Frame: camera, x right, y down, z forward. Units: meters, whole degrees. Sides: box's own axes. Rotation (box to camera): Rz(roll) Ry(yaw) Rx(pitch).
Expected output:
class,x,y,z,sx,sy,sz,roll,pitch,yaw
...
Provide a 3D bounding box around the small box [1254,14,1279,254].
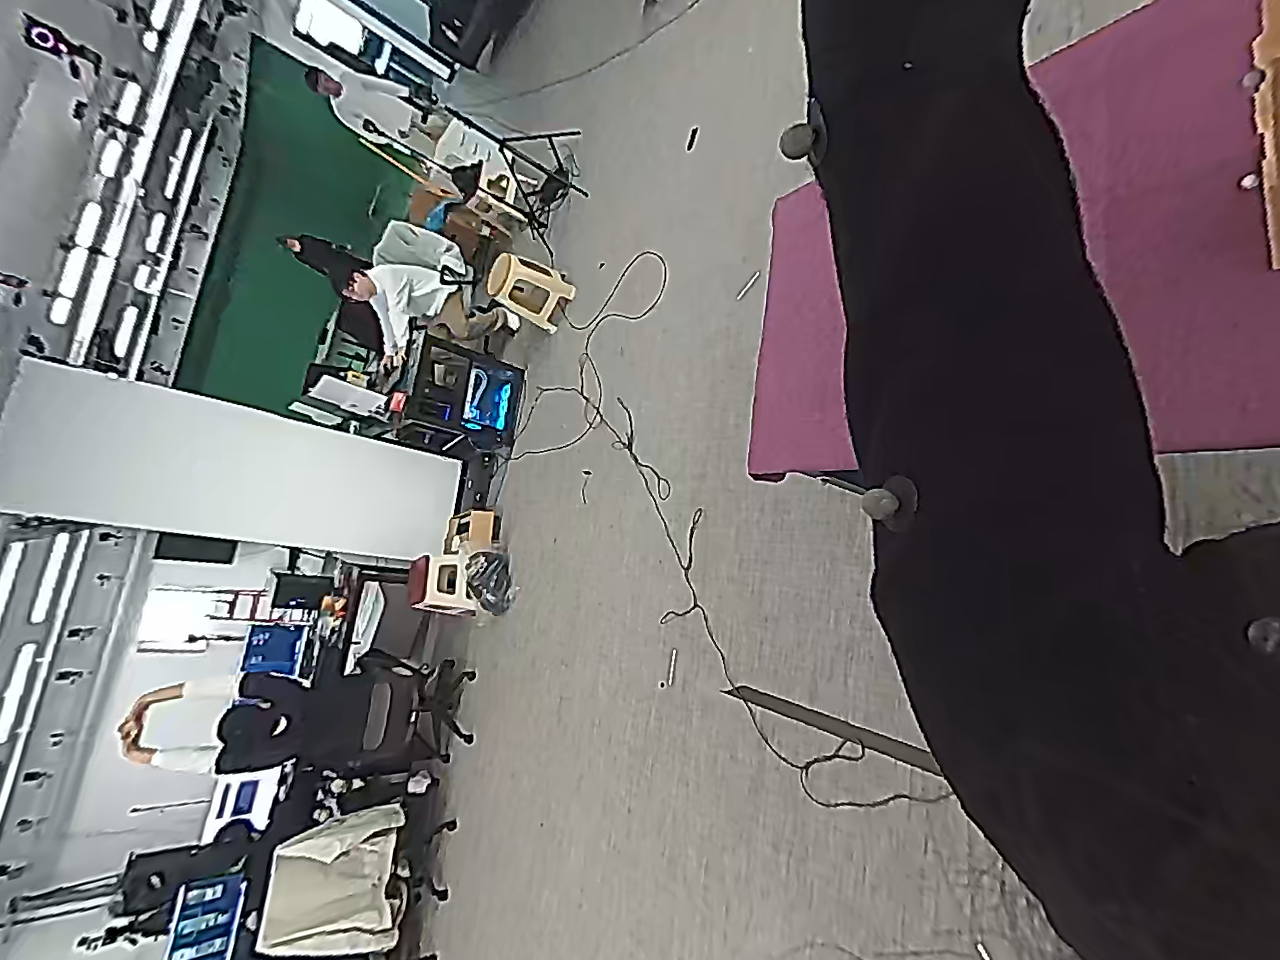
class,x,y,z,sx,sy,sz,roll,pitch,yaw
small box,0.684,-0.336,0.479,0.179,0.176,0.168,-5,74,52
